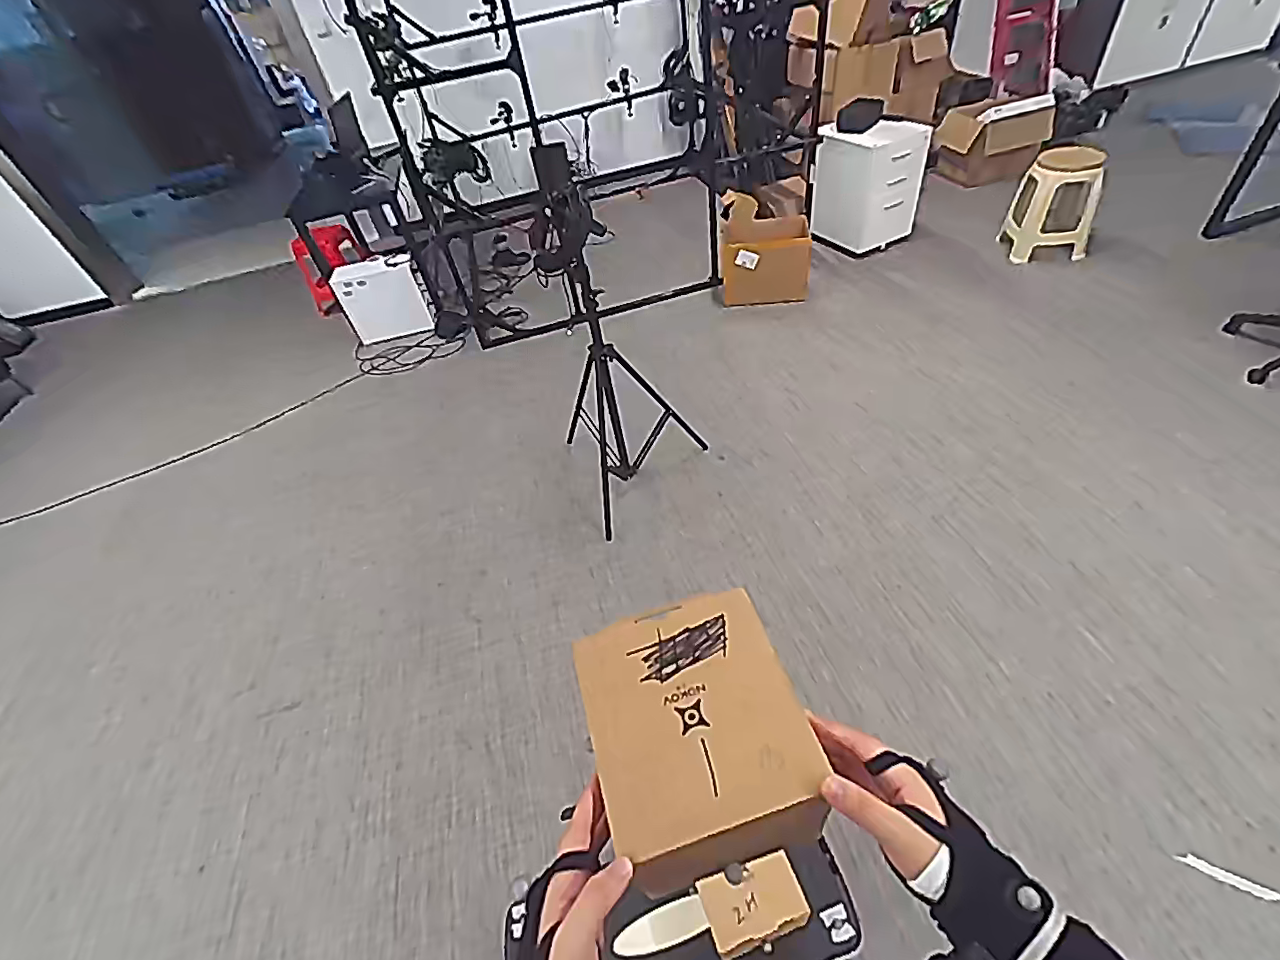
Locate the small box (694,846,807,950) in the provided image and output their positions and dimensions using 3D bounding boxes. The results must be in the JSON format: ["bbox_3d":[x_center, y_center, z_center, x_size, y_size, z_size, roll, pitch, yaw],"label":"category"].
[{"bbox_3d":[0.187,0.733,1.001,0.168,0.176,0.179,-19,45,-7],"label":"small box"}]

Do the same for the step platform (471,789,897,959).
[{"bbox_3d":[0.070,0.773,0.935,0.684,0.204,0.286,-18,44,-7],"label":"step platform"}]

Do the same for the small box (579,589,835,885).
[{"bbox_3d":[0.053,0.235,0.496,0.168,0.176,0.179,-17,47,-4],"label":"small box"}]
